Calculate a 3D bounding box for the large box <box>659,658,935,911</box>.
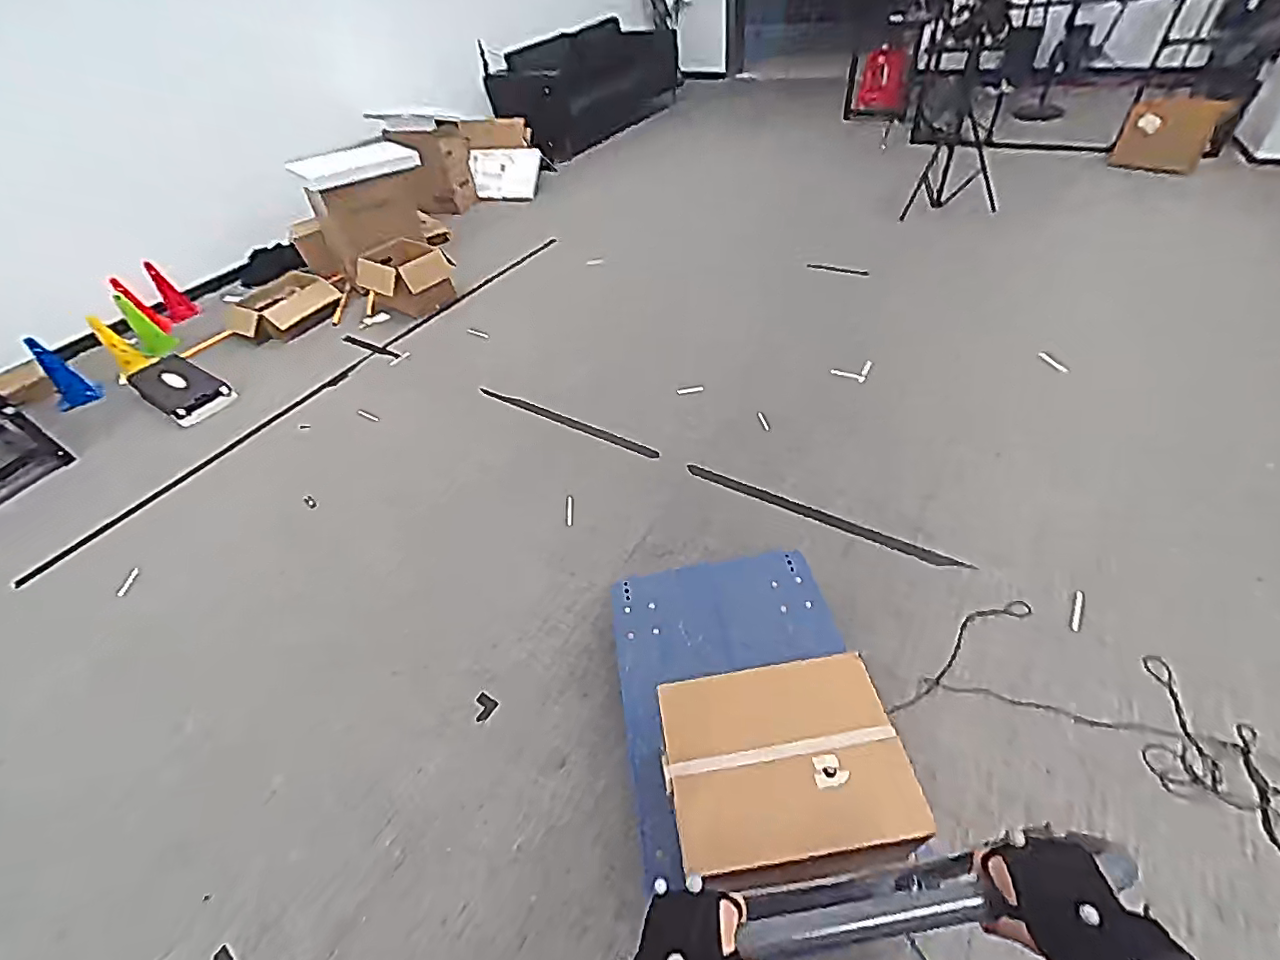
[{"bbox_3d":[0.264,0.592,1.055,0.408,0.320,0.320,-9,46,-2],"label":"large box"}]
